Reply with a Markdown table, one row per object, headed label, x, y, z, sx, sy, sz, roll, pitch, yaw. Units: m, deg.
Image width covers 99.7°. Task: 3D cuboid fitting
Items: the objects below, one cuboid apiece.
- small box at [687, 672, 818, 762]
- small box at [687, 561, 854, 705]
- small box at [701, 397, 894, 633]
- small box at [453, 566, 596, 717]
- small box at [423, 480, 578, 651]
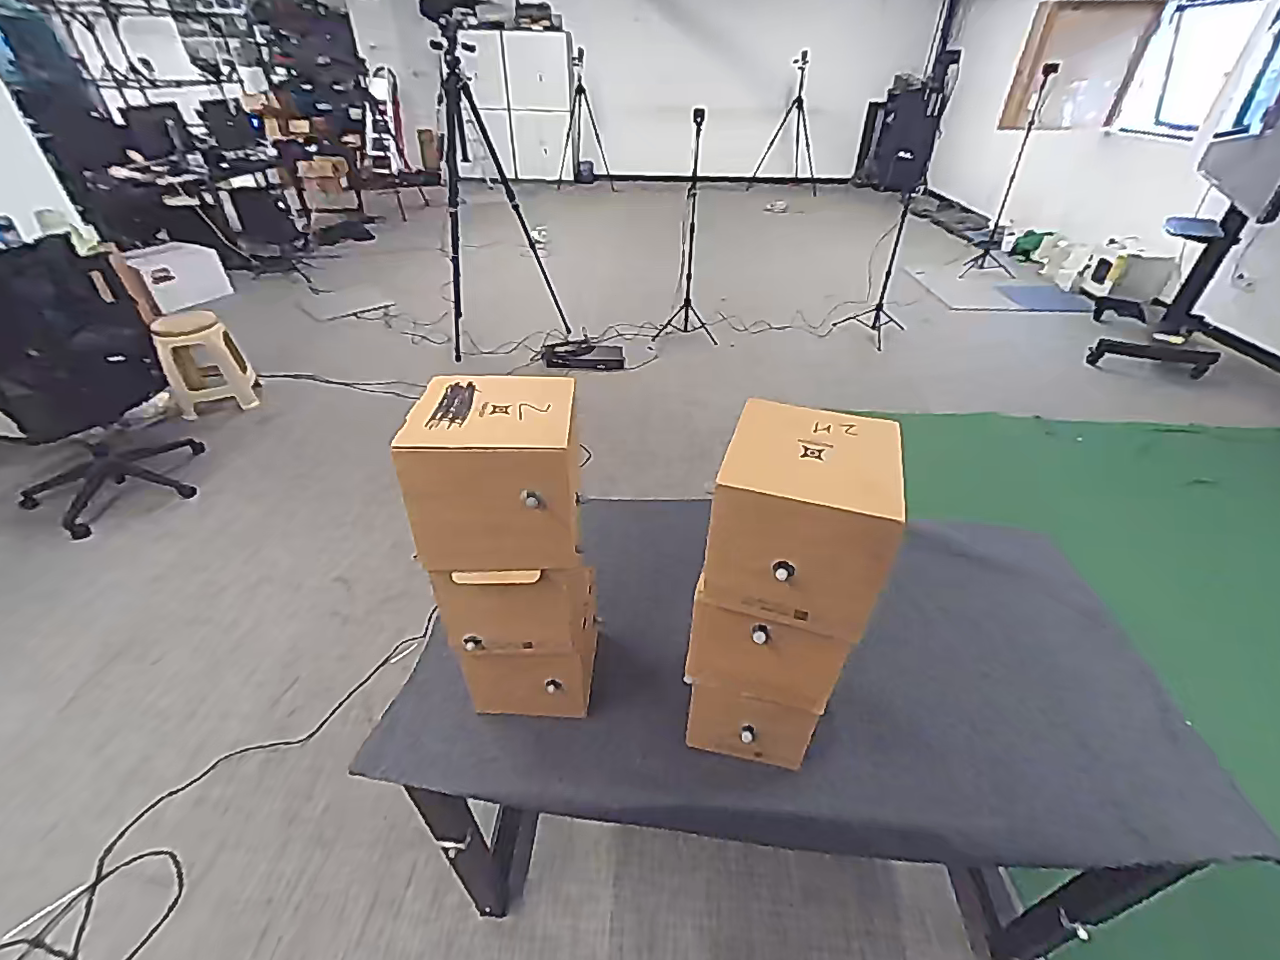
| label | x | y | z | sx | sy | sz | roll | pitch | yaw |
| --- | --- | --- | --- | --- | --- | --- | --- | --- | --- |
| small box | 0.162 | 0.283 | 0.797 | 0.168 | 0.176 | 0.179 | 7 | 38 | 10 |
| small box | 0.165 | 0.158 | 0.692 | 0.179 | 0.176 | 0.168 | 10 | 38 | 15 |
| small box | 0.165 | 0.034 | 0.582 | 0.168 | 0.176 | 0.179 | 12 | 38 | 15 |
| small box | -0.165 | 0.249 | 0.844 | 0.179 | 0.176 | 0.168 | 1 | 36 | 2 |
| small box | -0.175 | 0.118 | 0.745 | 0.168 | 0.176 | 0.179 | -1 | 35 | -2 |
